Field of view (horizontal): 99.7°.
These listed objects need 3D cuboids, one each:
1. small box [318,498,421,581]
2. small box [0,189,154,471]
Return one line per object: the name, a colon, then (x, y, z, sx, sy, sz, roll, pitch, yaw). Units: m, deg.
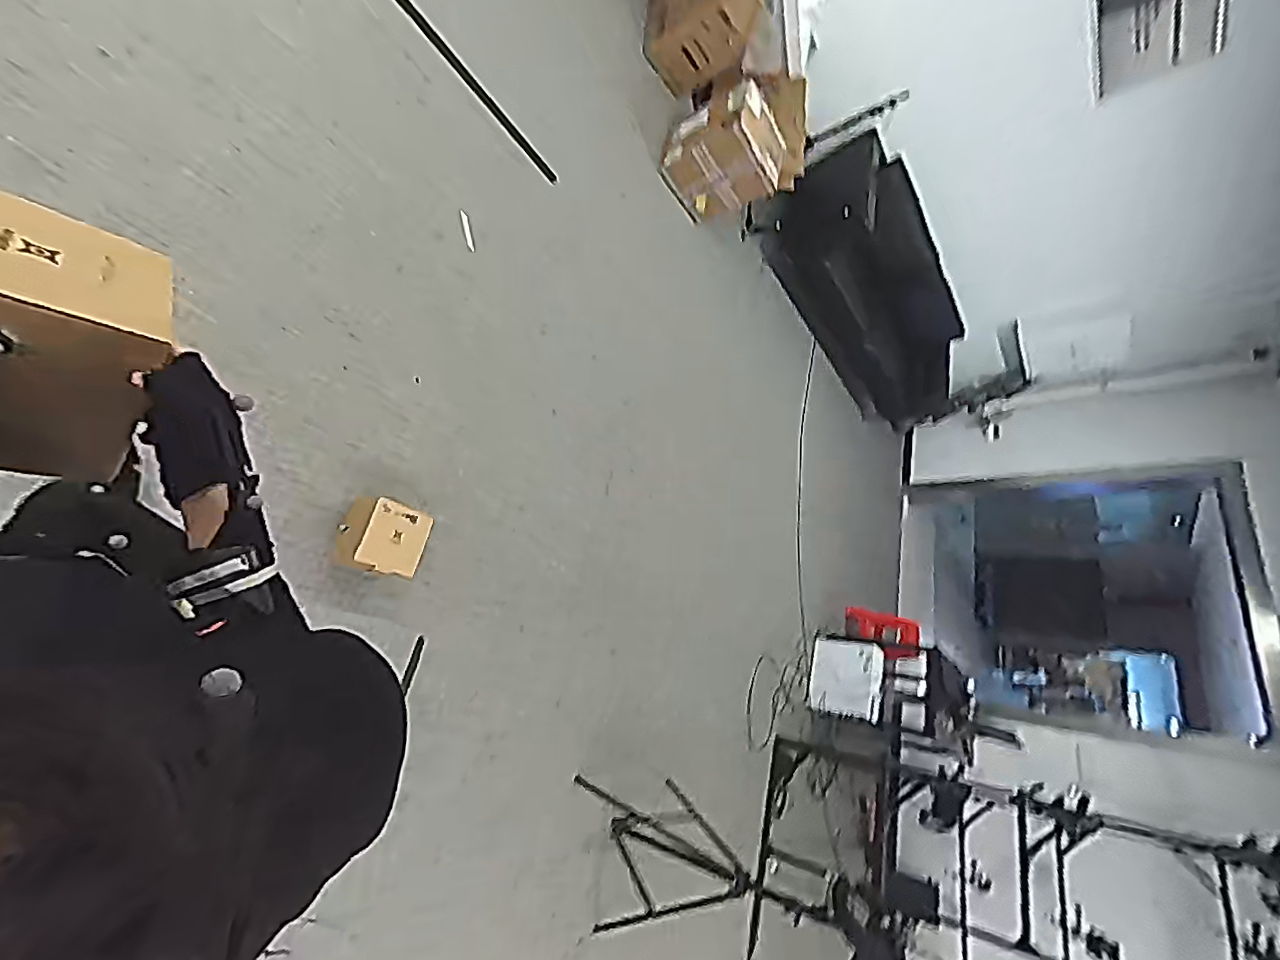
small box: (-0.735, 0.163, 1.462, 0.168, 0.176, 0.179, 37, 58, -43)
small box: (-0.540, -0.128, 0.447, 0.179, 0.176, 0.168, 16, 31, -51)
